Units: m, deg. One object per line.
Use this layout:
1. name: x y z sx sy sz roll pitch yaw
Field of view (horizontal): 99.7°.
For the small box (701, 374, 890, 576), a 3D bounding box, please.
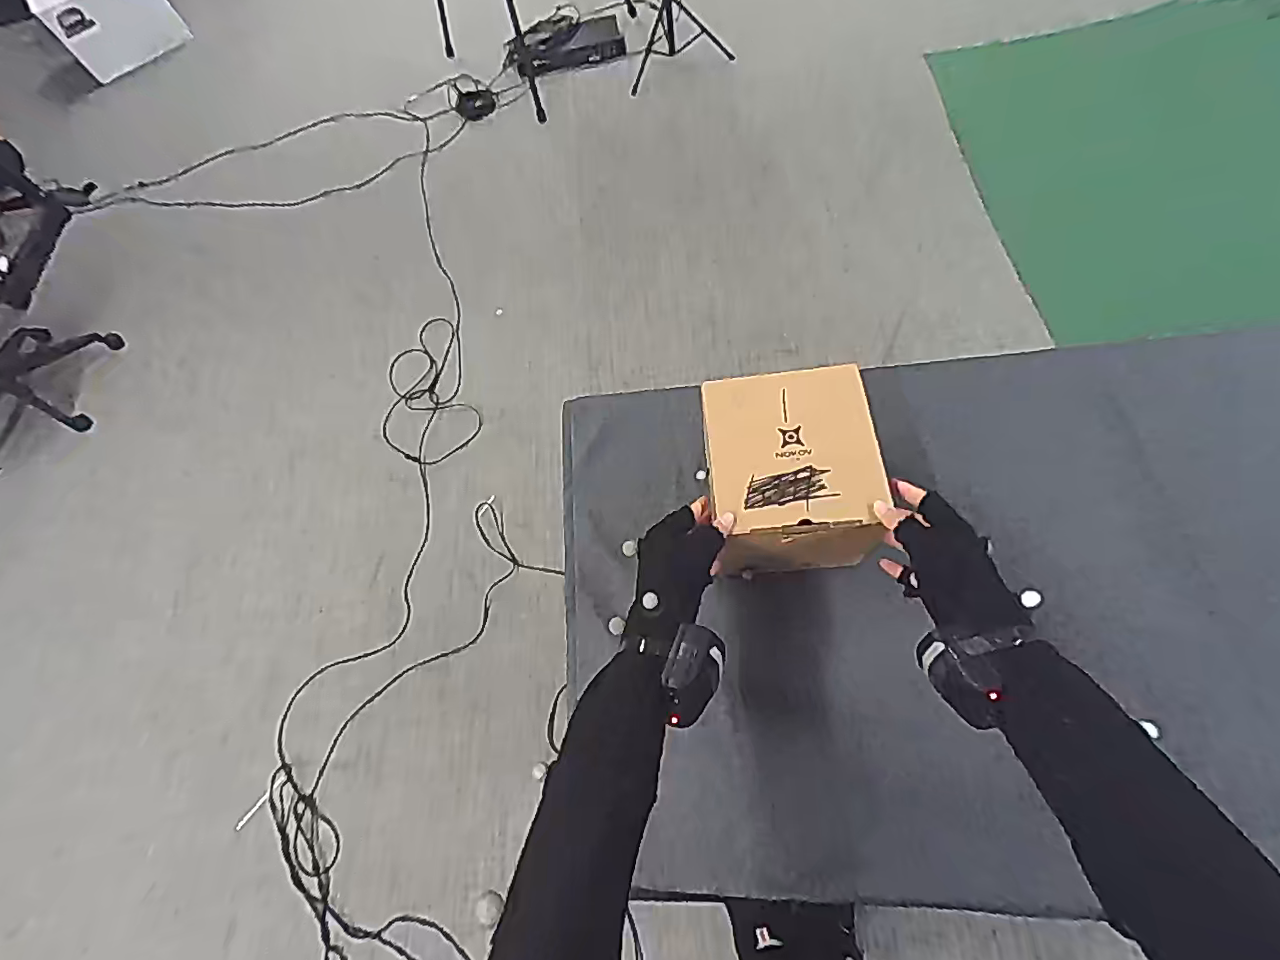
1. small box: 0.161 0.006 0.614 0.168 0.176 0.179 -6 65 6
